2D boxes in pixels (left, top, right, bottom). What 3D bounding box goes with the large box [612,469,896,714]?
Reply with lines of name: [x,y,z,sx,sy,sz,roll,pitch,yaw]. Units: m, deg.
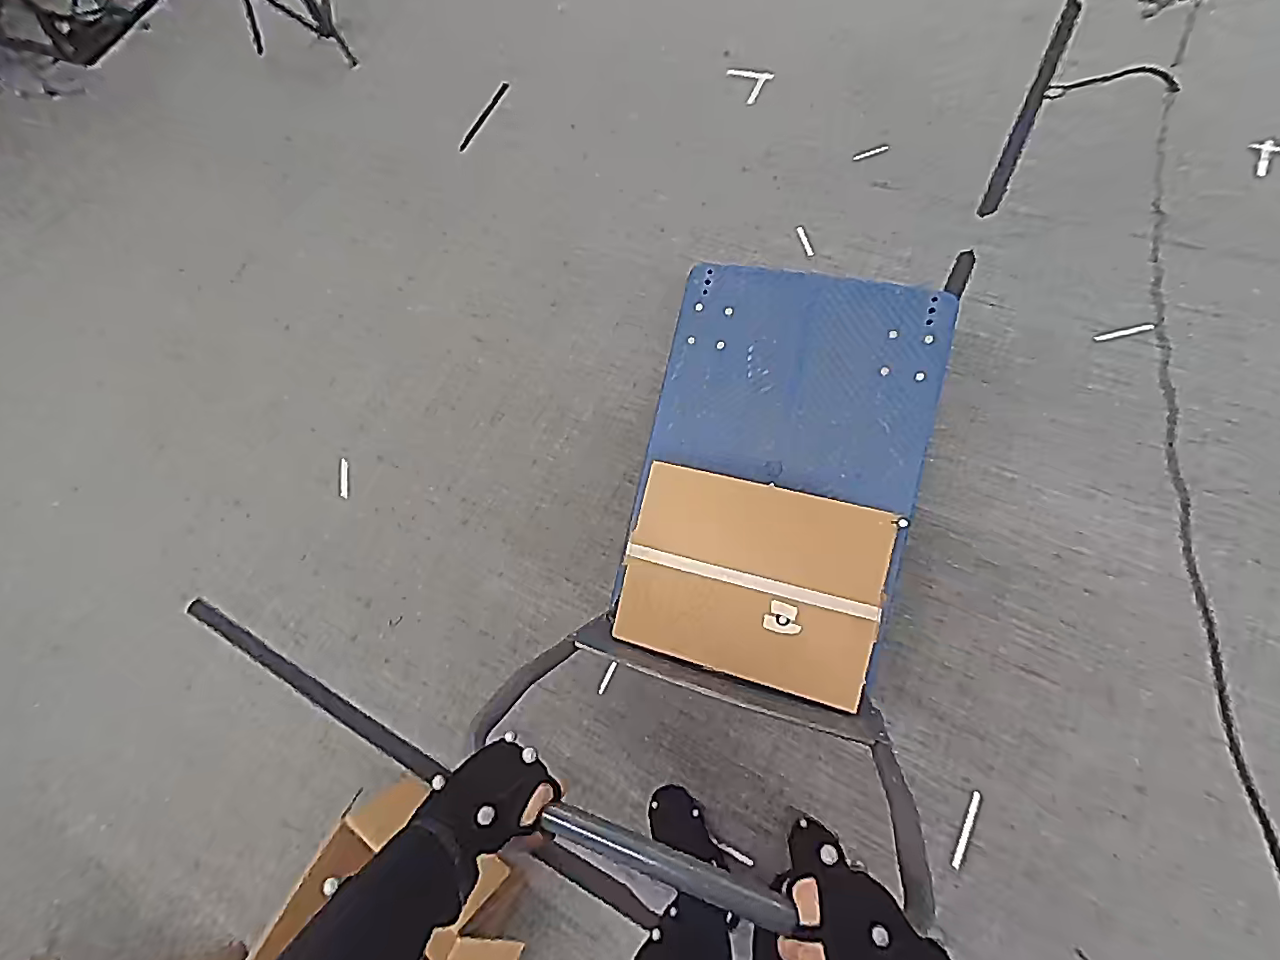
large box: [0.204,0.181,1.011,0.408,0.320,0.320,13,88,14]
